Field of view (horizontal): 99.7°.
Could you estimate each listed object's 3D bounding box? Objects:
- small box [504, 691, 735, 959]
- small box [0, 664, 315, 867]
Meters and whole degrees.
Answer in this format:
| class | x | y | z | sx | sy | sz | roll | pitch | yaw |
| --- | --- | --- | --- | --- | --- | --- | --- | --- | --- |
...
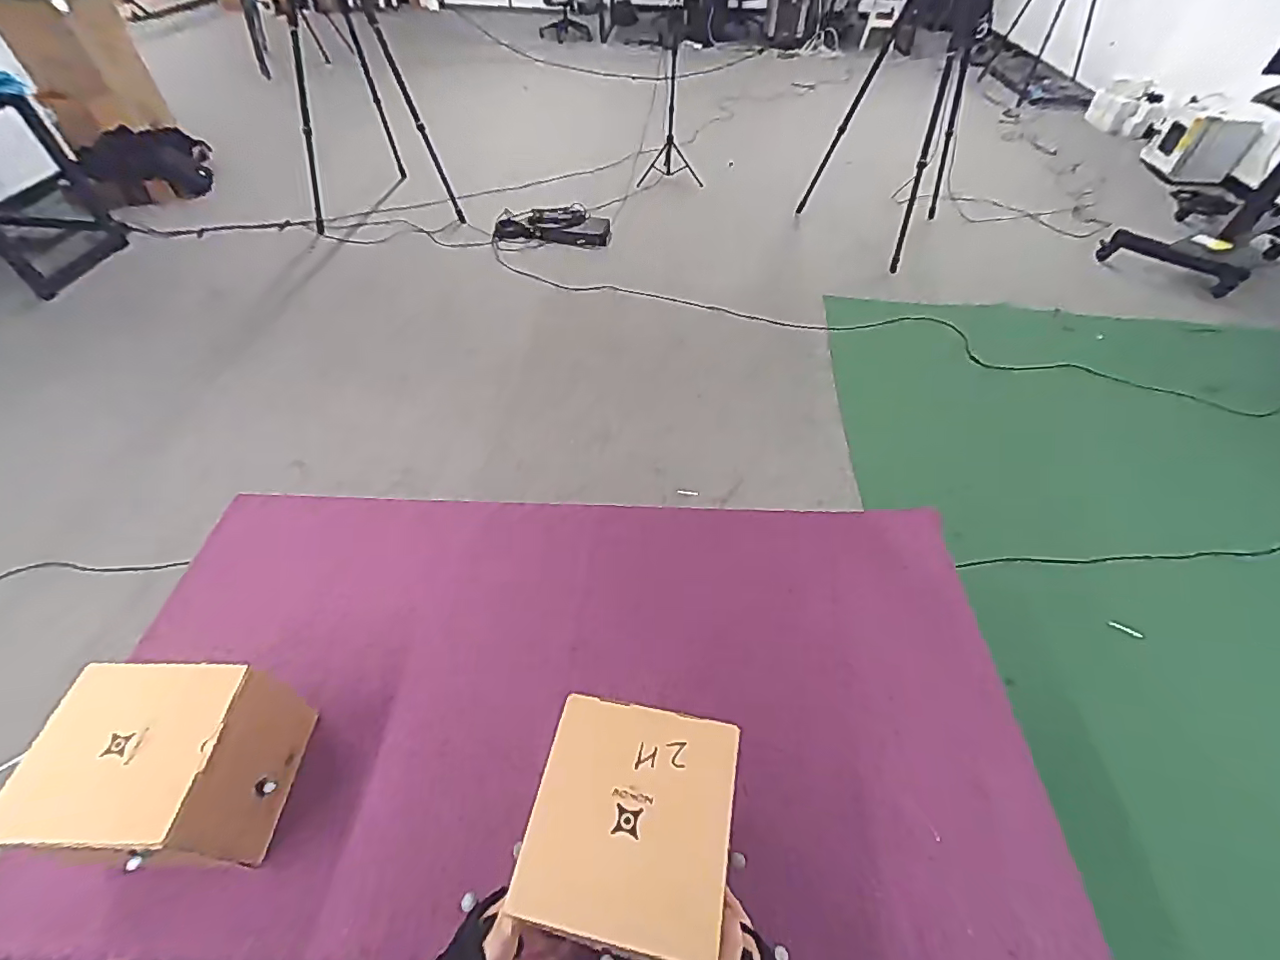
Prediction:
| class | x | y | z | sx | sy | sz | roll | pitch | yaw |
| --- | --- | --- | --- | --- | --- | --- | --- | --- | --- |
| small box | -0.003 | 0.332 | 0.514 | 0.168 | 0.176 | 0.179 | 6 | 46 | 12 |
| small box | -0.507 | 0.317 | 0.596 | 0.179 | 0.176 | 0.168 | 1 | 48 | -1 |
